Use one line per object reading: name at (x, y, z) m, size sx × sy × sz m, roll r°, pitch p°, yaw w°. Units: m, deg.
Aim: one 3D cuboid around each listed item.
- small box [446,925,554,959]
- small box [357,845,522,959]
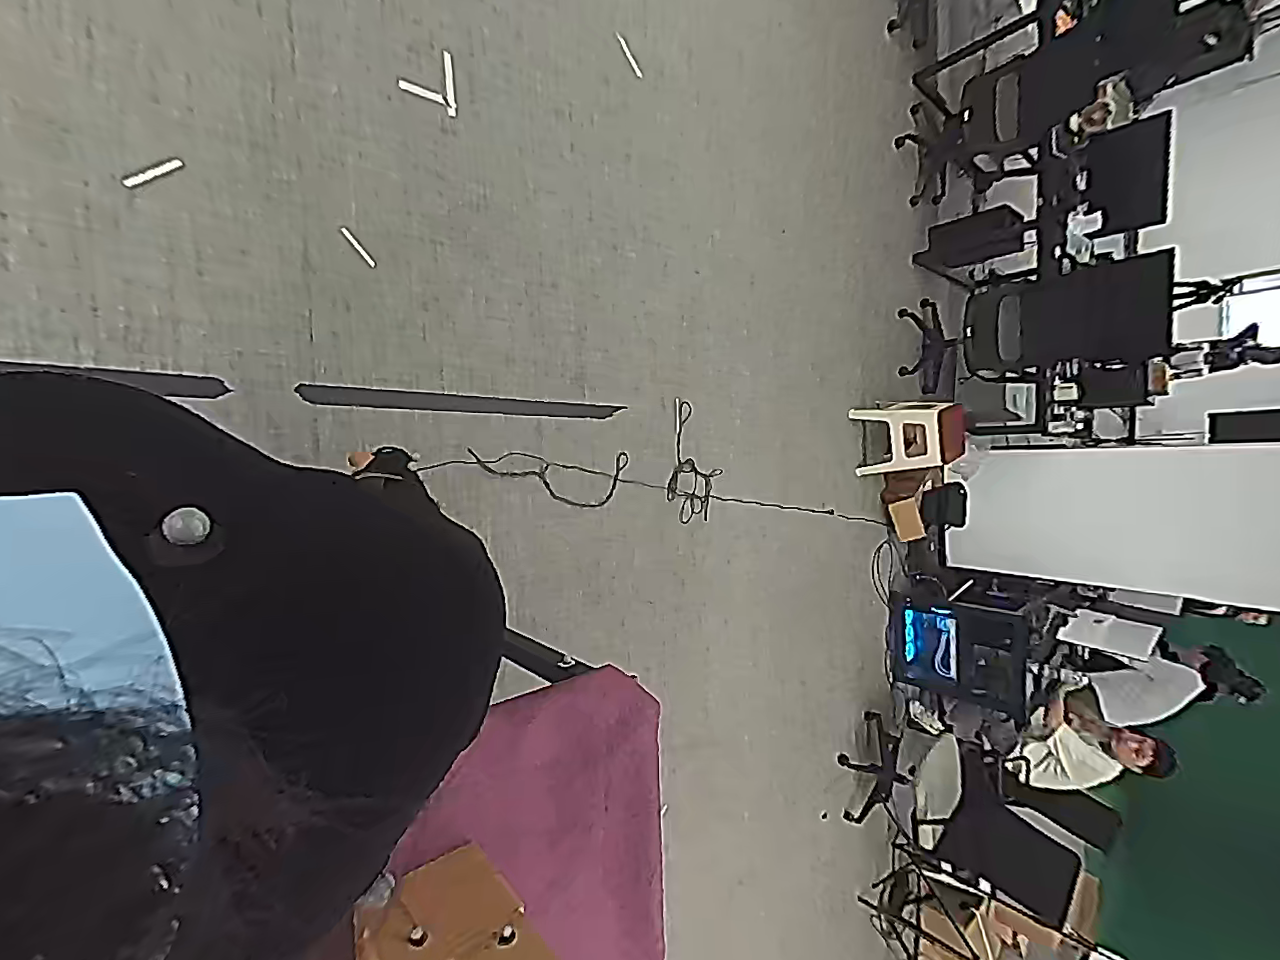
small box at (-0.170, 0.667, 0.617) m, size 0.168 × 0.176 × 0.179 m, roll -5°, pitch 95°, yaw -40°
small box at (-0.278, 0.655, 0.741) m, size 0.179 × 0.176 × 0.168 m, roll -3°, pitch 94°, yaw -41°
